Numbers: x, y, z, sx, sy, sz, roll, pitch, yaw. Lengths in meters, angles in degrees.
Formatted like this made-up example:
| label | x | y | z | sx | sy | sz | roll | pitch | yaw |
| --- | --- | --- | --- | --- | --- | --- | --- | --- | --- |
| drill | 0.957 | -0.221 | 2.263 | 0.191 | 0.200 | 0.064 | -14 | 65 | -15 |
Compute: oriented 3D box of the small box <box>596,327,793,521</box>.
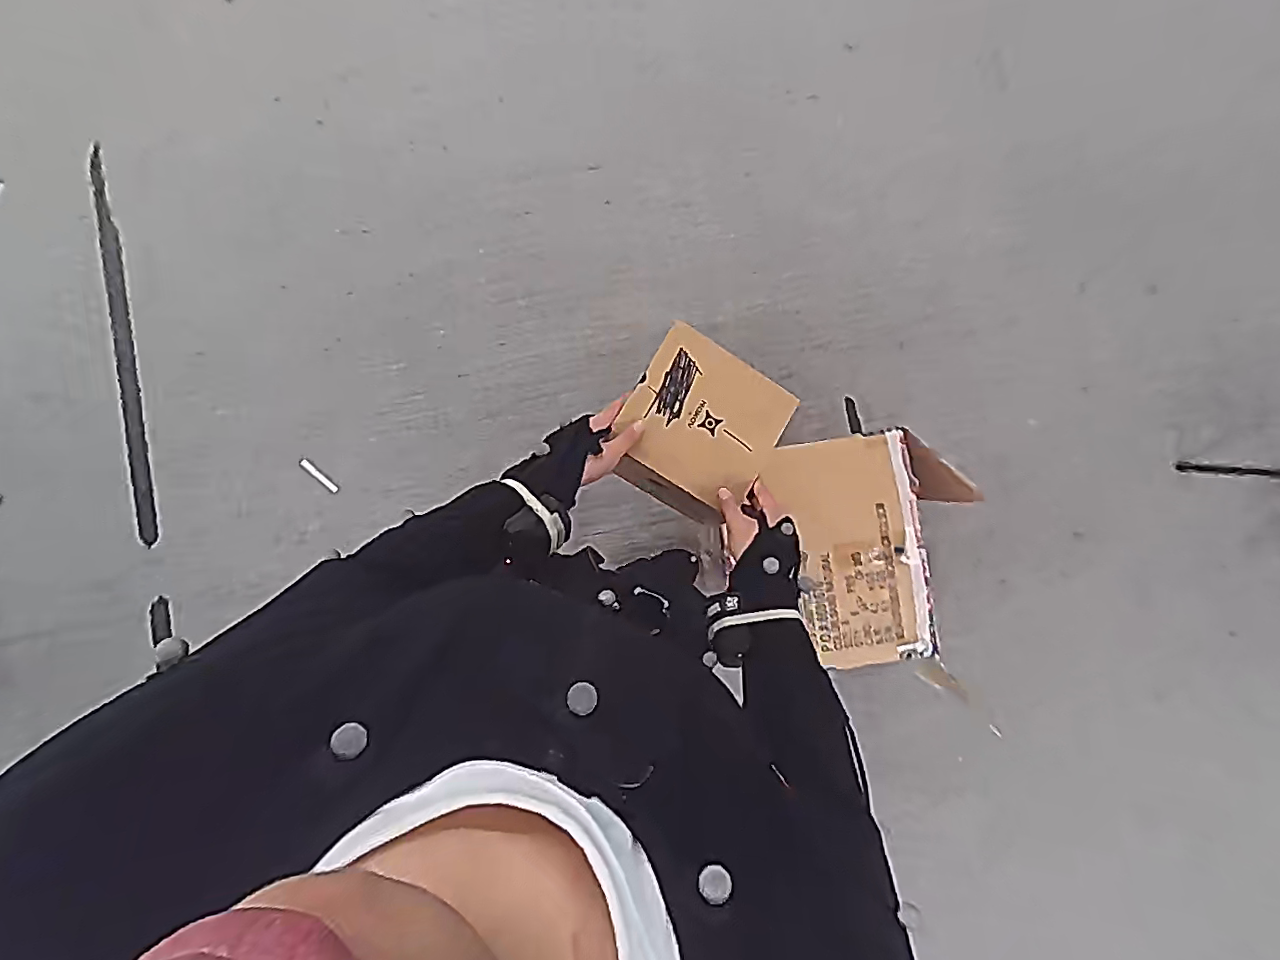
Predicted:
| label | x | y | z | sx | sy | sz | roll | pitch | yaw |
| --- | --- | --- | --- | --- | --- | --- | --- | --- | --- |
| small box | 0.061 | -0.058 | 0.696 | 0.179 | 0.176 | 0.168 | 30 | 82 | 3 |
